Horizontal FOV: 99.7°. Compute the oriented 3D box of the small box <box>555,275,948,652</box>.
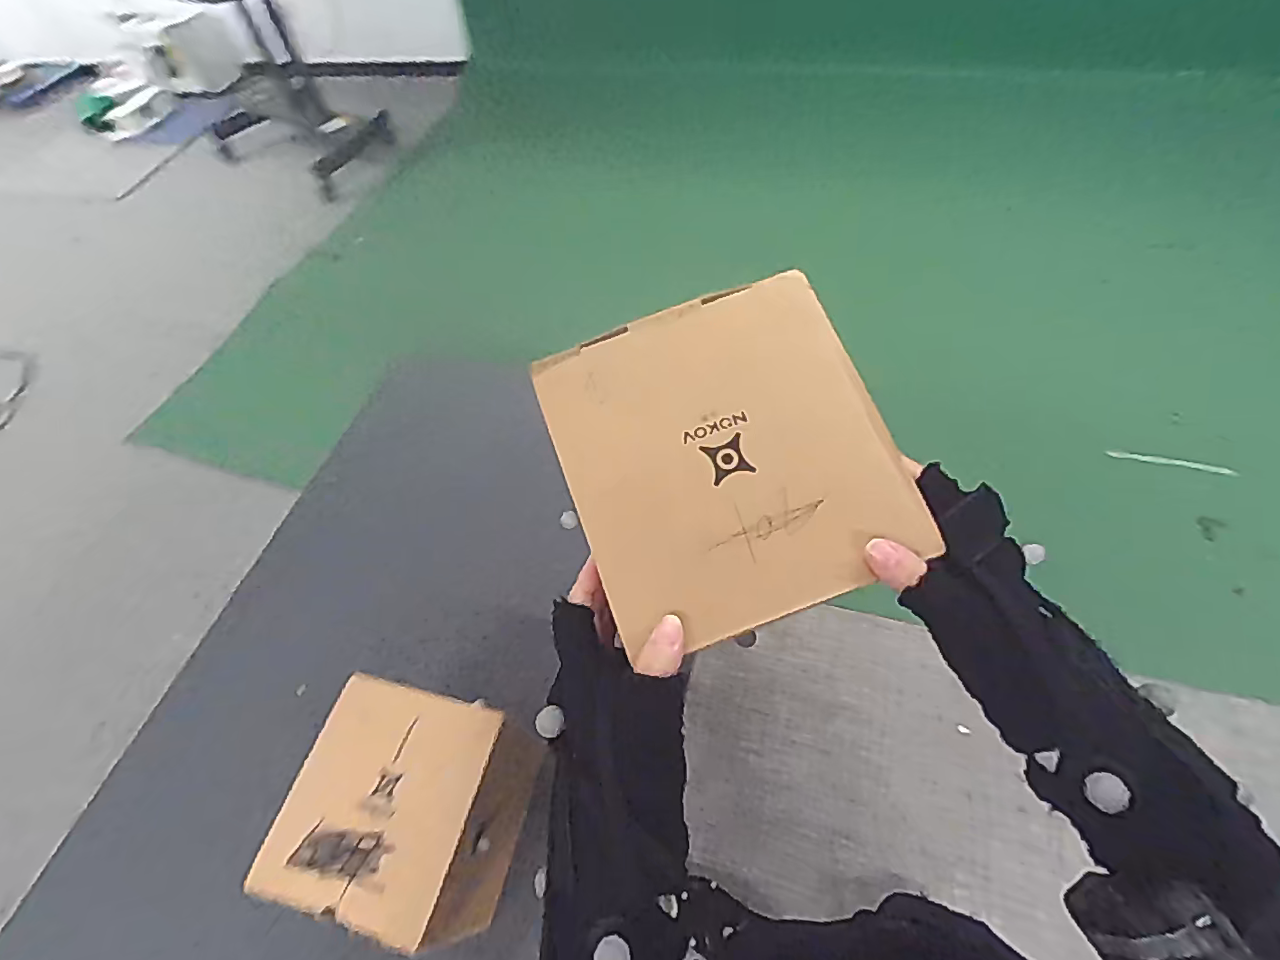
[{"bbox_3d":[0.056,0.003,0.368,0.168,0.176,0.179,-19,76,-2],"label":"small box"}]

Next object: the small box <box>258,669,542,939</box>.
[{"bbox_3d":[-0.214,0.315,0.543,0.168,0.176,0.179,9,57,12],"label":"small box"}]
